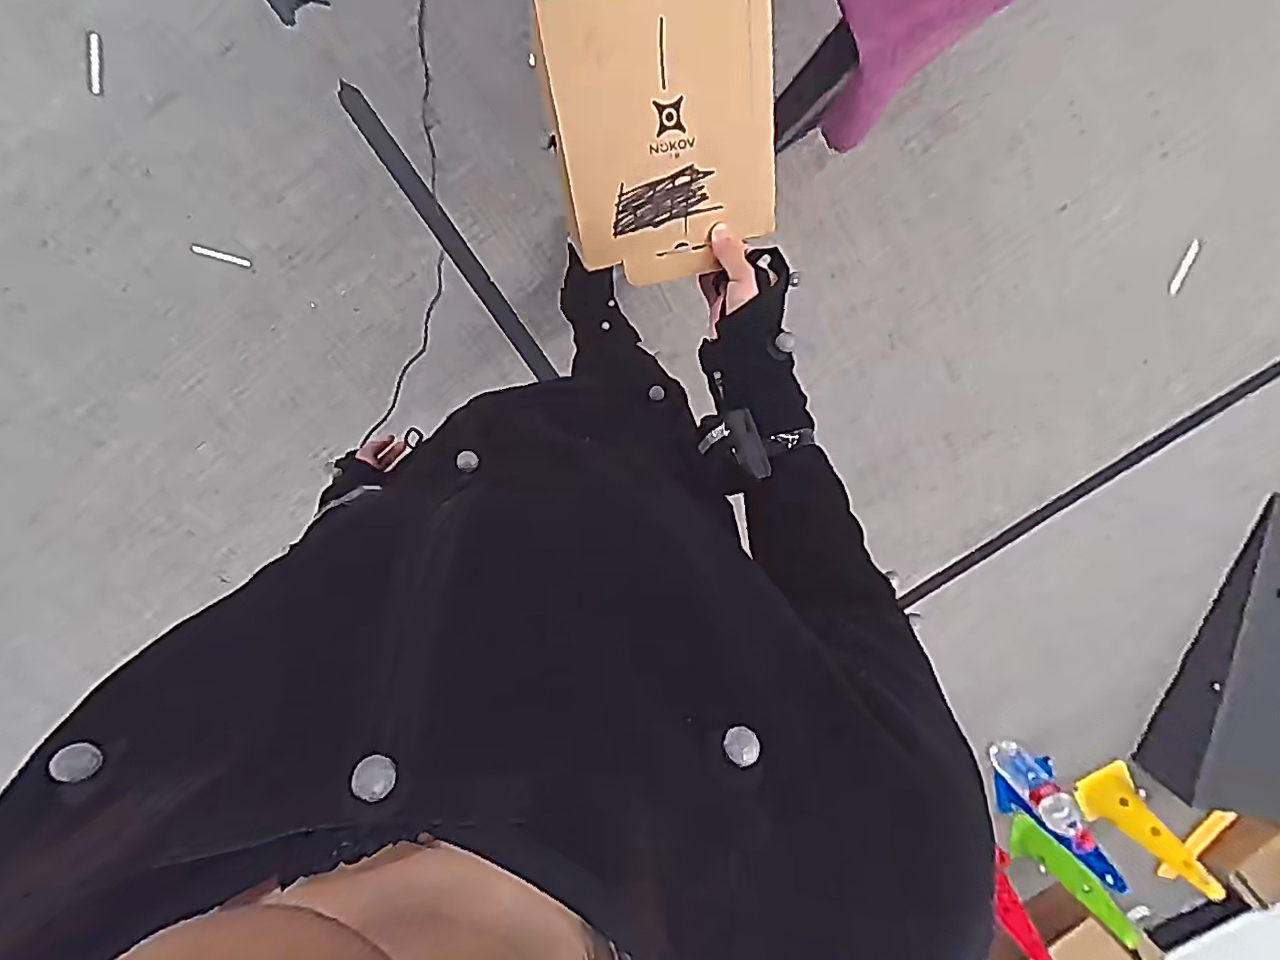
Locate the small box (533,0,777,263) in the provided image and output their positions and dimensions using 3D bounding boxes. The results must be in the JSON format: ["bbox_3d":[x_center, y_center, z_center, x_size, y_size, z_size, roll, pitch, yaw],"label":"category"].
[{"bbox_3d":[0.009,-0.306,0.469,0.168,0.176,0.179,-13,121,-4],"label":"small box"}]
